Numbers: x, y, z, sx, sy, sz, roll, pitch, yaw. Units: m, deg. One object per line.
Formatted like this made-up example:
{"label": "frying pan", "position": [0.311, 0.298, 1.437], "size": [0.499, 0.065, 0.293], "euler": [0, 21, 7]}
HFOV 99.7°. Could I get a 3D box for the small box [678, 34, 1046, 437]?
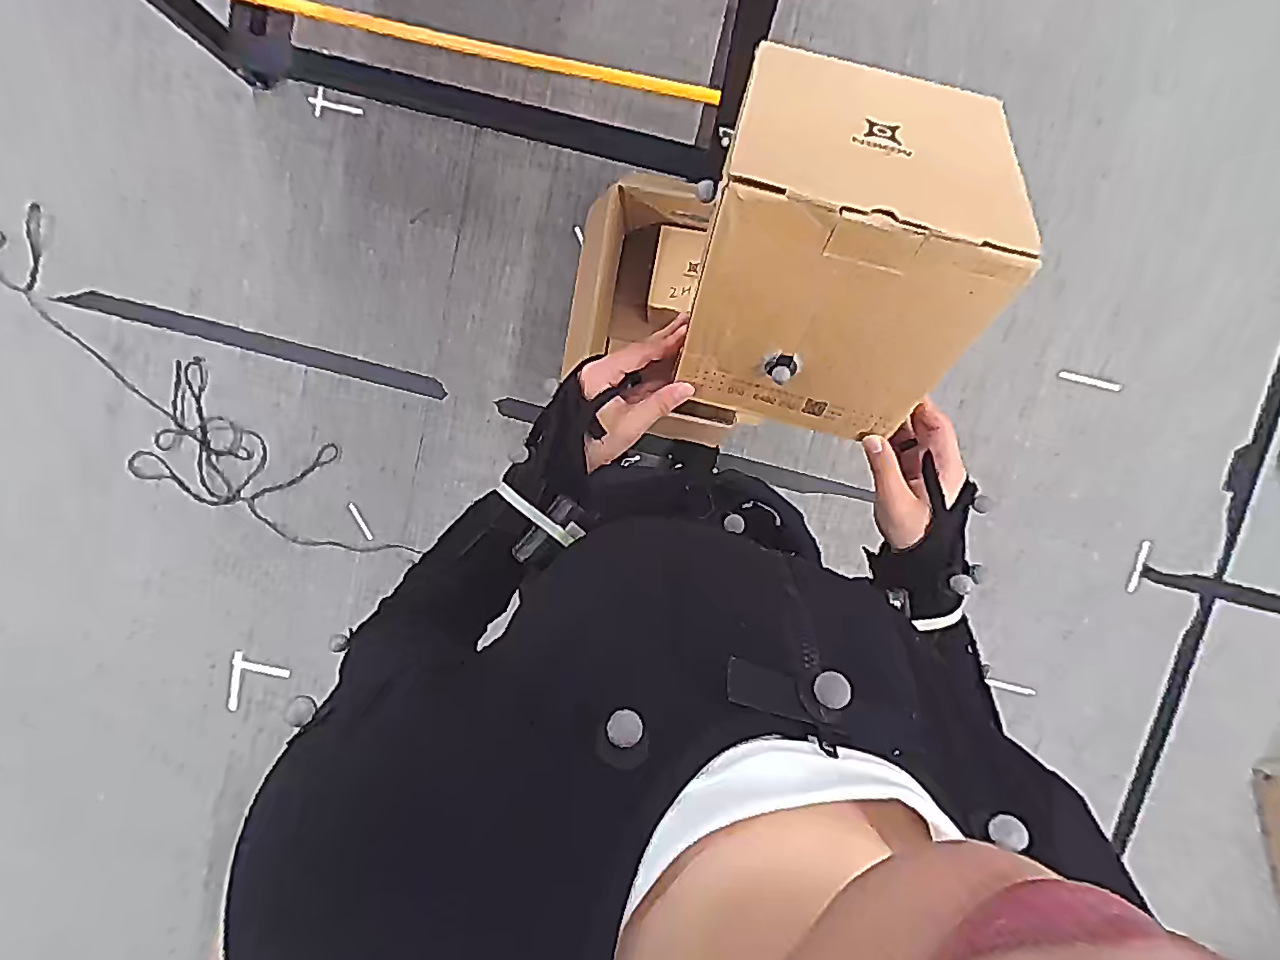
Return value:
{"label": "small box", "position": [0.130, -0.160, 0.379], "size": [0.168, 0.176, 0.179], "euler": [14, 59, 1]}
